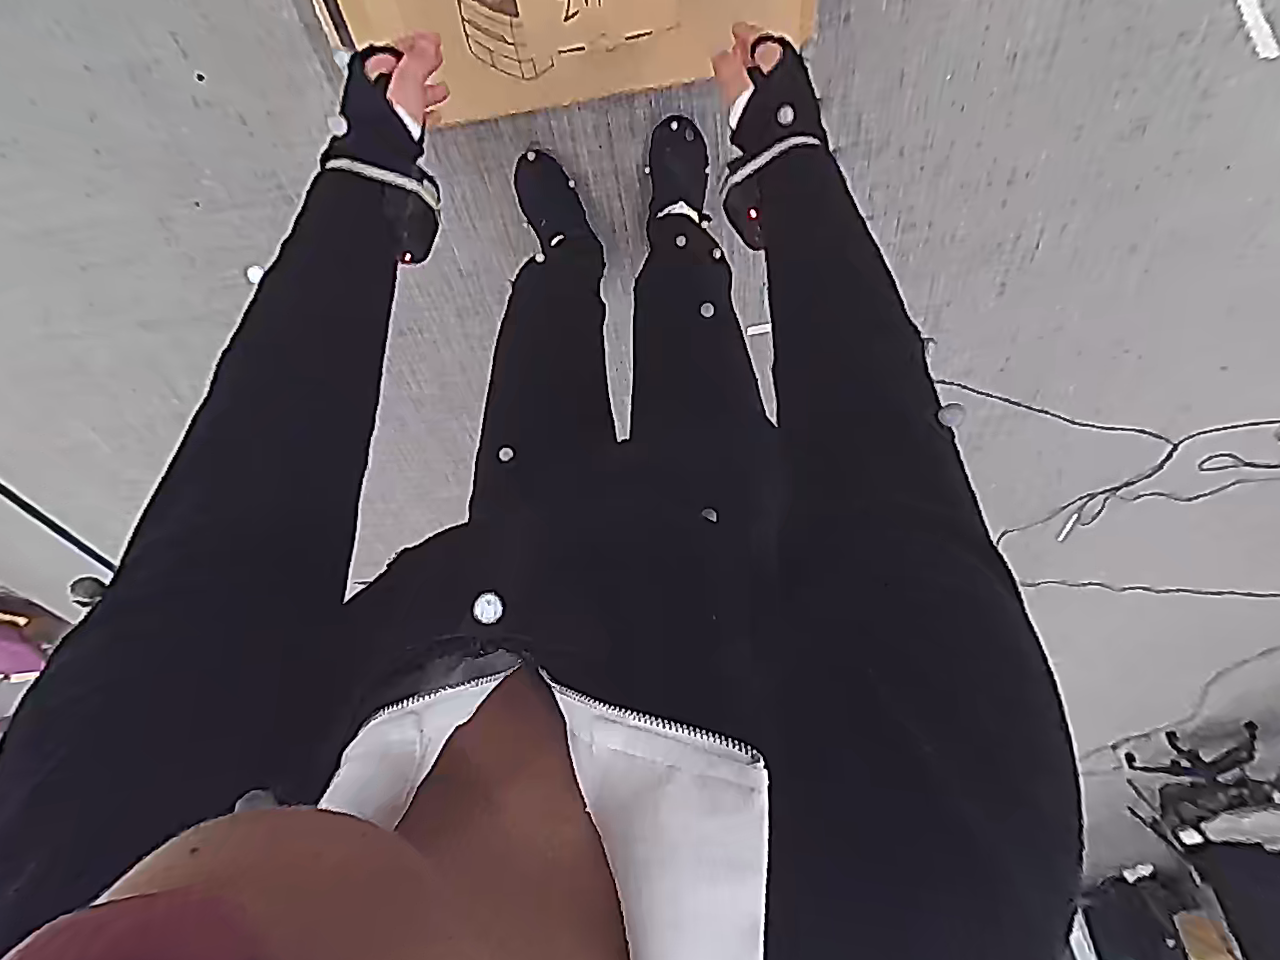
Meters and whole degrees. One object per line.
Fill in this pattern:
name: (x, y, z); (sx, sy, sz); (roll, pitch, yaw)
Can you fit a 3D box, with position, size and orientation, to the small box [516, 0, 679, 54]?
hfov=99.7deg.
small box: (-0.052, -0.581, 0.571); (0.168, 0.176, 0.179); (-6, 134, 7)
